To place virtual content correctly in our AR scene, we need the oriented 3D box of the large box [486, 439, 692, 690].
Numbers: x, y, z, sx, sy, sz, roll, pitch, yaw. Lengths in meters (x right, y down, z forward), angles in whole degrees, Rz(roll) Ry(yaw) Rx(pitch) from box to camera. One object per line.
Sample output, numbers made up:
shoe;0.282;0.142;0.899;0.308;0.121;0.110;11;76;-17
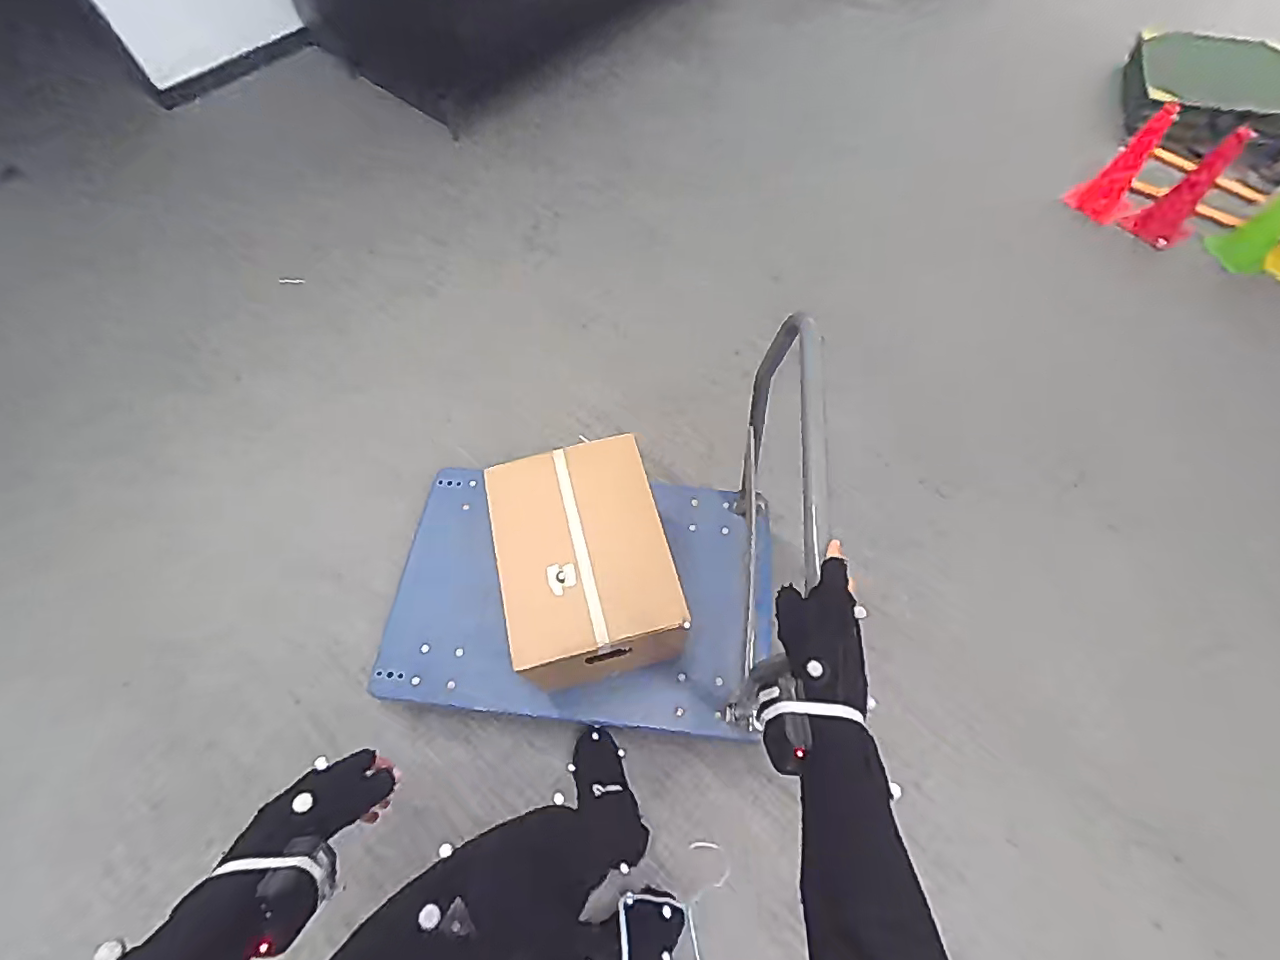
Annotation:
large box;-0.108;0.186;1.150;0.320;0.320;0.408;-15;63;-6
